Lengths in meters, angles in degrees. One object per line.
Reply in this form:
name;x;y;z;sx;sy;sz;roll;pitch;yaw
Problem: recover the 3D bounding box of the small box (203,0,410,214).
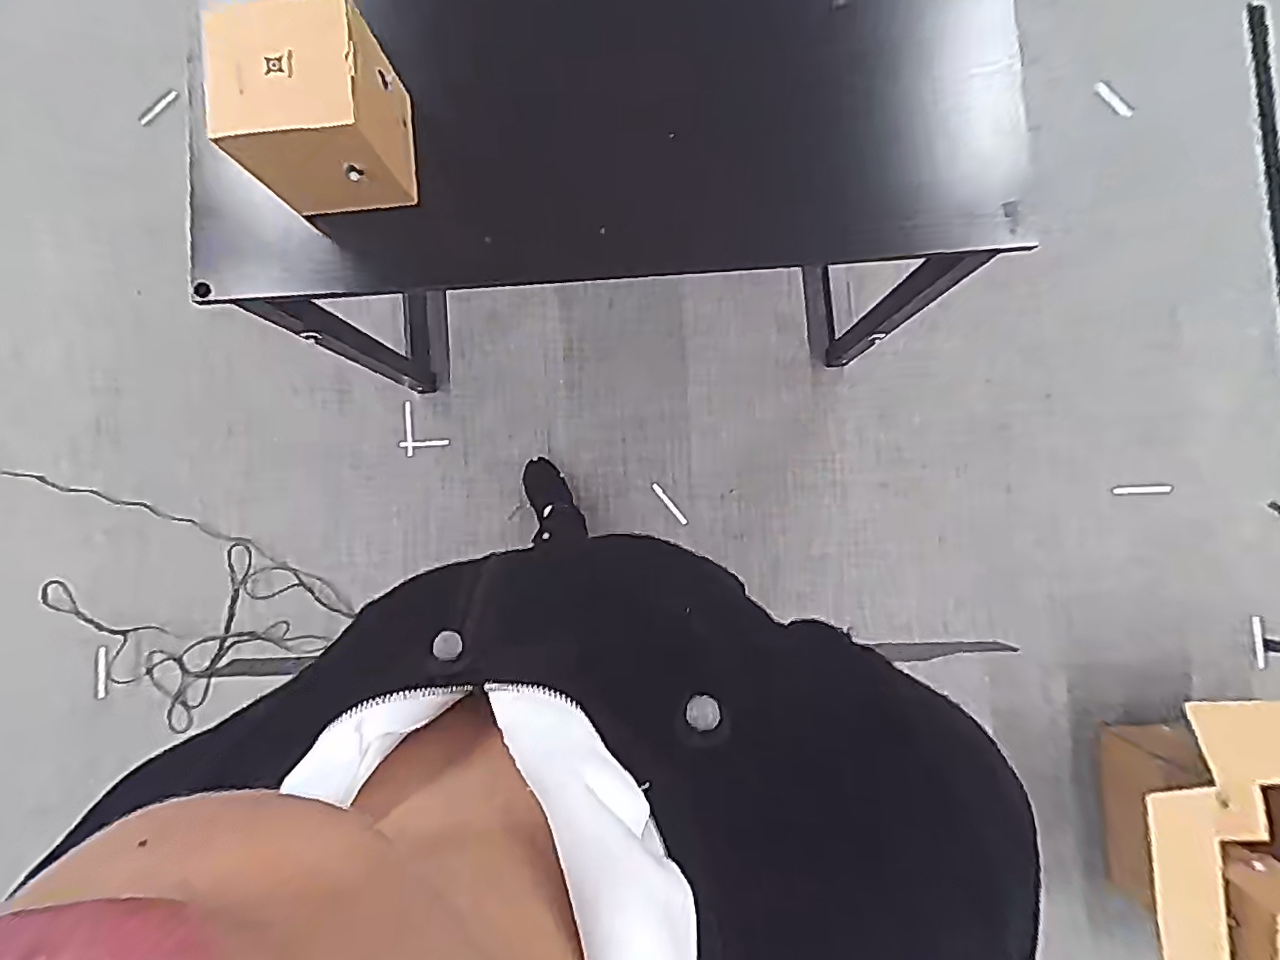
small box;-0.418;-0.476;0.708;0.179;0.176;0.168;-6;86;1
